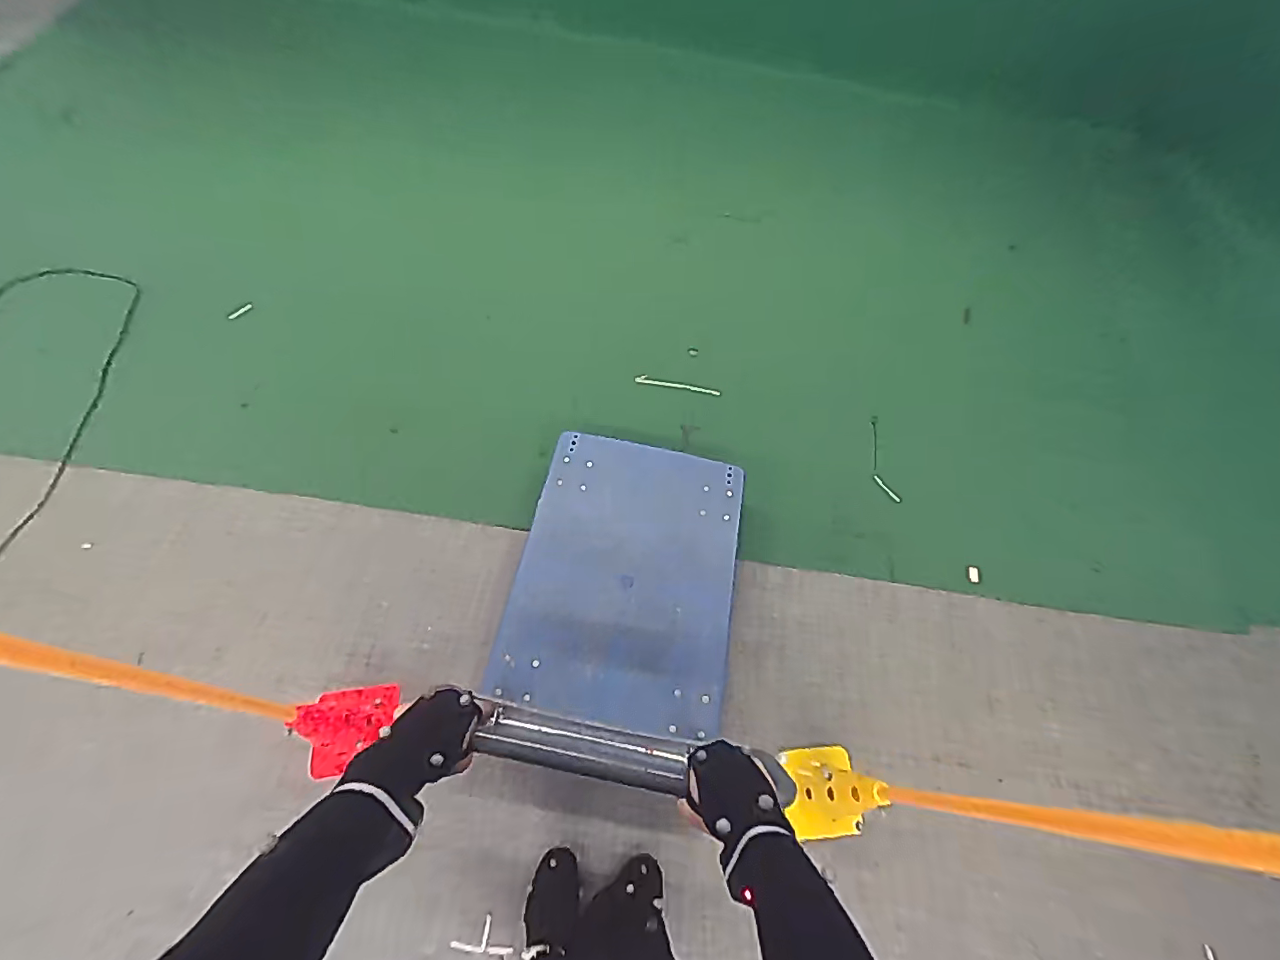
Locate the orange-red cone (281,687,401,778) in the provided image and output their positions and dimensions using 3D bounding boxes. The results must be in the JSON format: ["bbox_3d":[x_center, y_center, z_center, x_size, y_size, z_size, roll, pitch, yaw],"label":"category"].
[{"bbox_3d":[-0.698,0.546,1.208,0.199,0.360,0.198,-5,61,-7],"label":"orange-red cone"}]
